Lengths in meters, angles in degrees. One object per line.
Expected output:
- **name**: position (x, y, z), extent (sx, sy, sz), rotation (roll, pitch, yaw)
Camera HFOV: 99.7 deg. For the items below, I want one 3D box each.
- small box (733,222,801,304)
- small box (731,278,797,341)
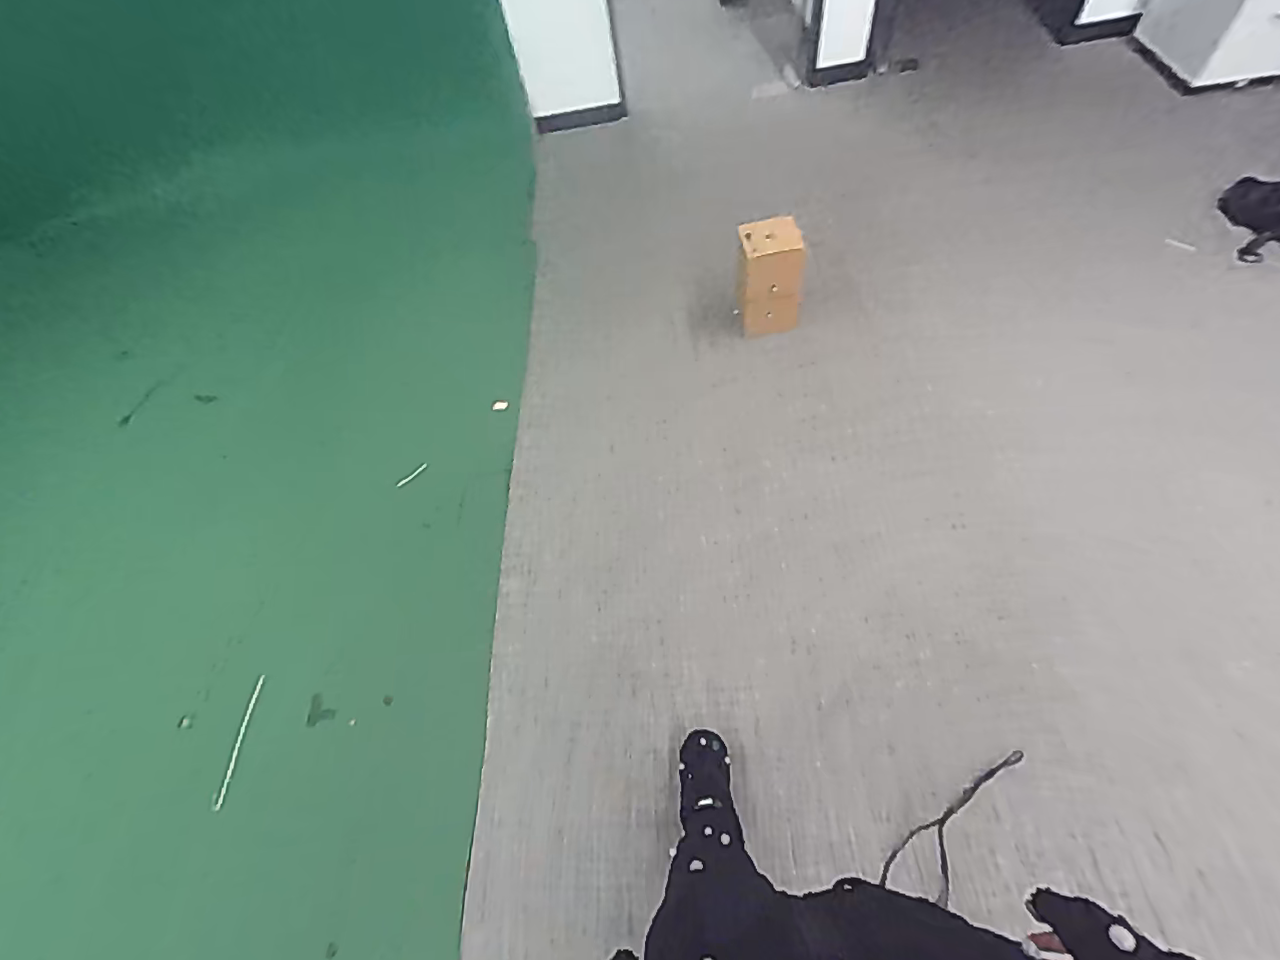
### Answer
- **small box**: position (0.401, -0.692, 1.734), extent (0.179, 0.176, 0.168), rotation (-9, 58, 3)
- **small box**: position (0.423, -0.611, 1.874), extent (0.179, 0.176, 0.168), rotation (-13, 58, 0)
